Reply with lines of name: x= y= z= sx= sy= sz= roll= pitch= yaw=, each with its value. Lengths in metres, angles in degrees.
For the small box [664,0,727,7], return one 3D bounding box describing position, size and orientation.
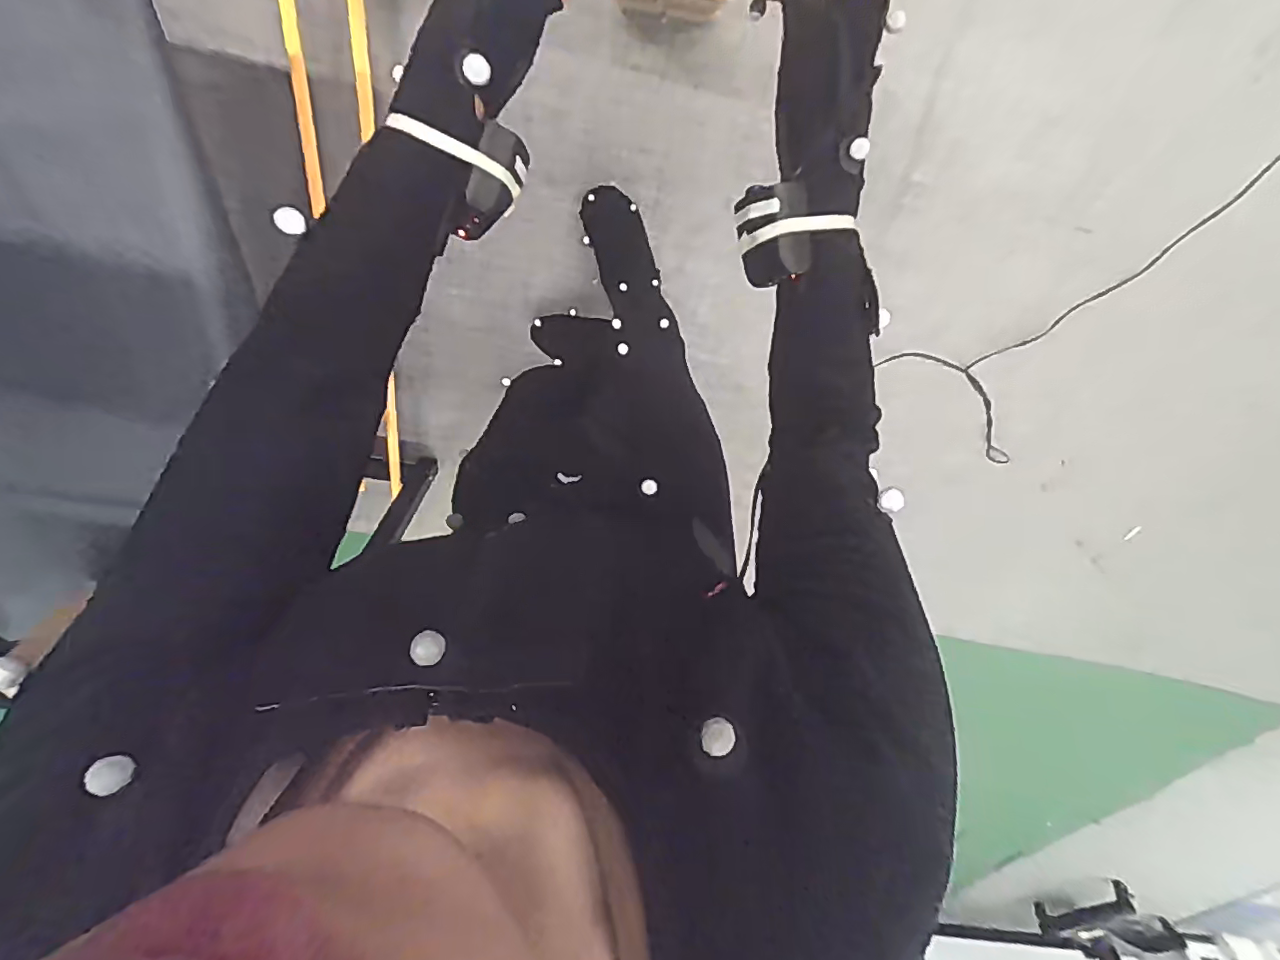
small box: x=0.047 y=-0.751 z=0.716 sx=0.179 sy=0.176 sz=0.168 roll=10 pitch=128 yaw=-2
